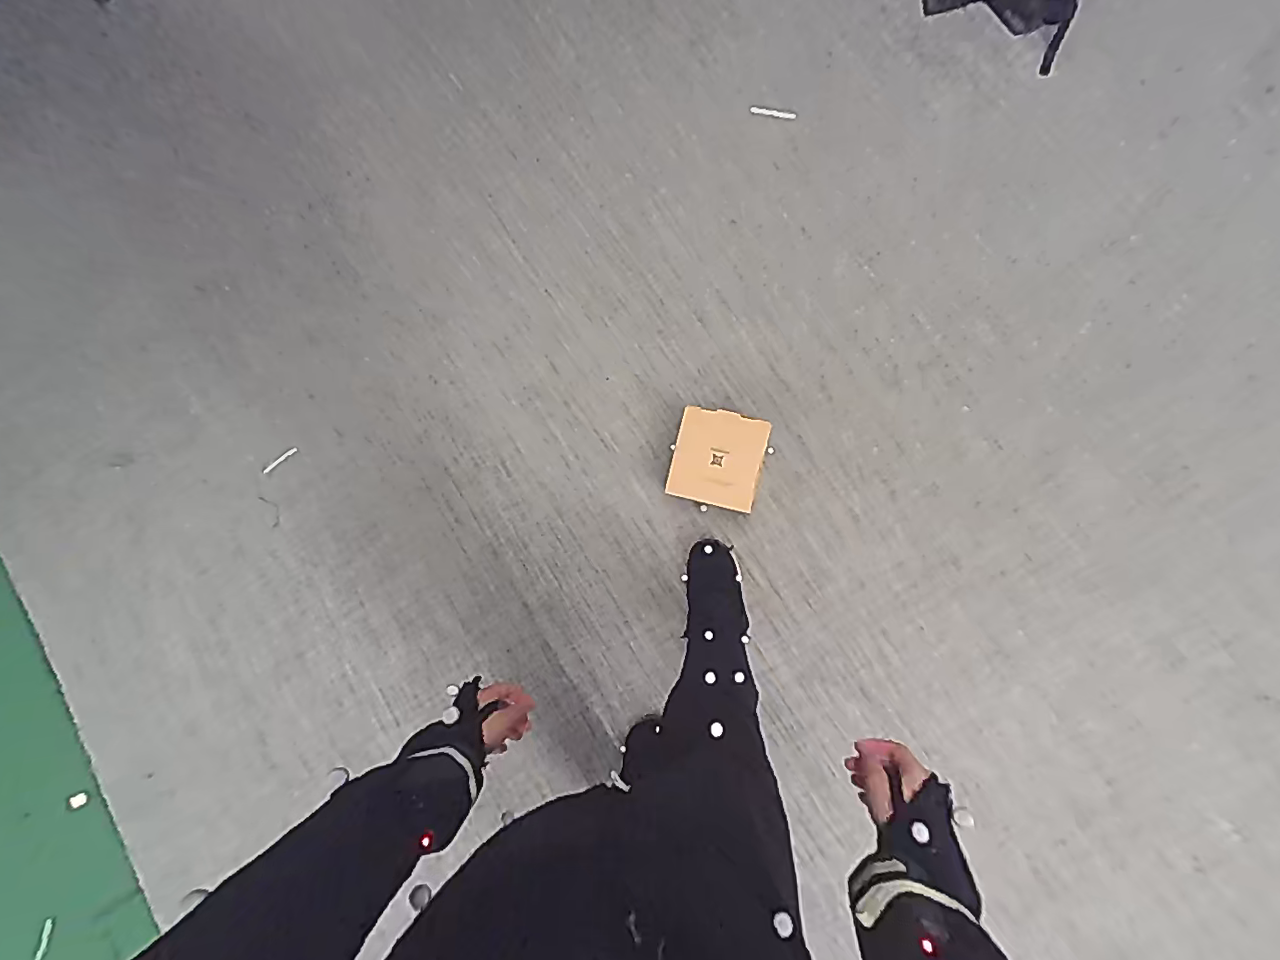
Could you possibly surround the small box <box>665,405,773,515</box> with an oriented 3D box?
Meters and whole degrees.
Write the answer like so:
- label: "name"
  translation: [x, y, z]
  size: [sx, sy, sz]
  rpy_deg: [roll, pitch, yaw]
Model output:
- label: "small box"
  translation: [0.157, -0.034, 1.069]
  size: [0.168, 0.176, 0.179]
  rpy_deg: [13, 90, 12]
